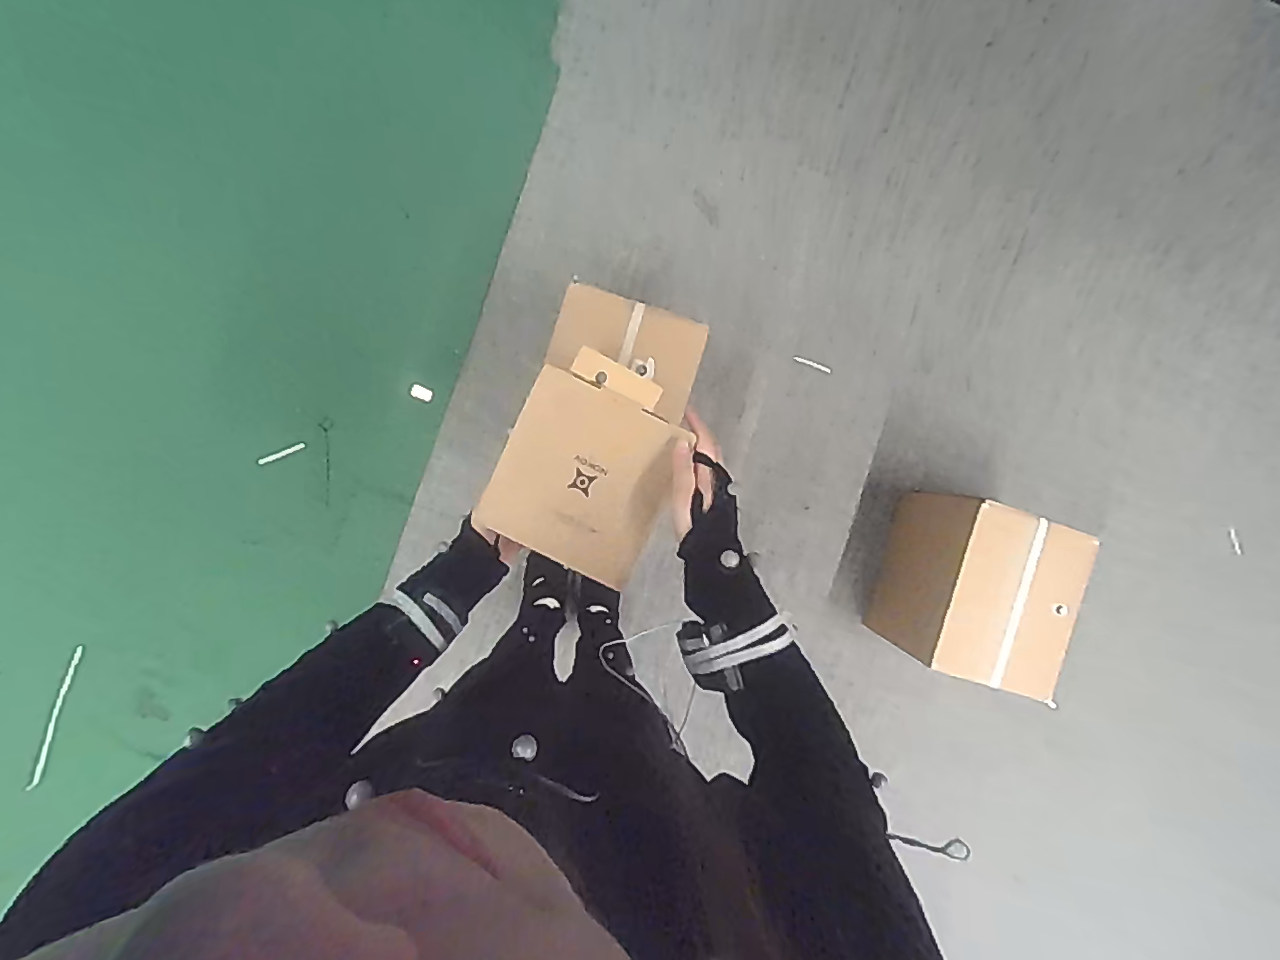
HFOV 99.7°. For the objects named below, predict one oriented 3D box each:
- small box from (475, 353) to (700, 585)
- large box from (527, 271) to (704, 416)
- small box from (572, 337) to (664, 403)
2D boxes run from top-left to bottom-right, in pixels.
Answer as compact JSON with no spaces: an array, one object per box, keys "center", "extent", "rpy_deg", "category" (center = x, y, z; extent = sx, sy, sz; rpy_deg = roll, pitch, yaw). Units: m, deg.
[{"center":[-0.052,-0.017,0.601],"extent":[0.168,0.176,0.179],"rpy_deg":[27,96,-2],"category":"small box"},{"center":[-0.074,-0.207,1.280],"extent":[0.320,0.320,0.408],"rpy_deg":[17,91,-6],"category":"large box"},{"center":[-0.074,-0.145,1.038],"extent":[0.168,0.176,0.179],"rpy_deg":[28,91,-5],"category":"small box"}]
